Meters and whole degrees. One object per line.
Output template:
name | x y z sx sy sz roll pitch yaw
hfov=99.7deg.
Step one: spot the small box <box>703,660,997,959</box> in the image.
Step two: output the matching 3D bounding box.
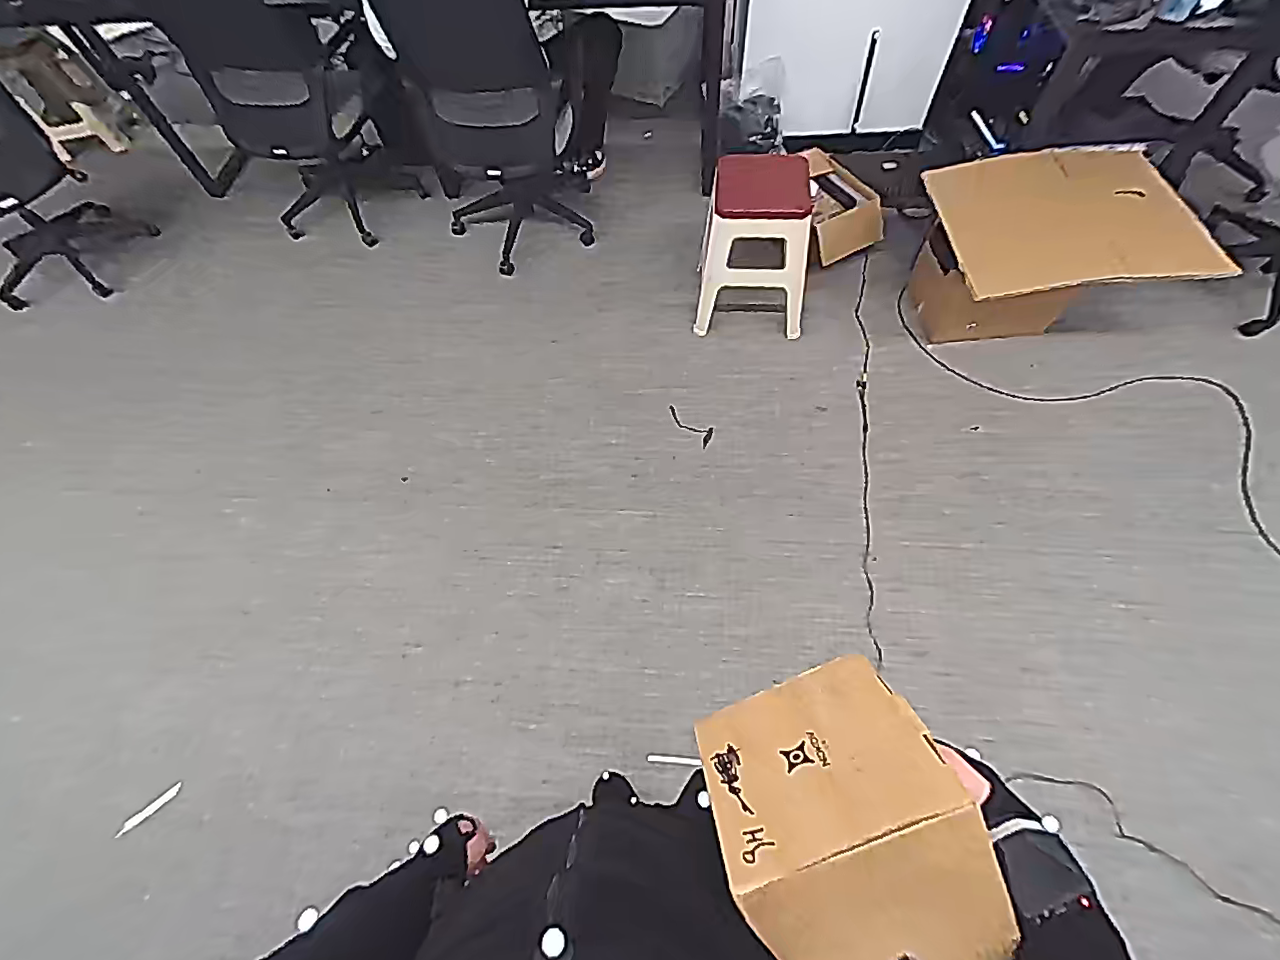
small box | 0.176 0.301 0.474 0.179 0.168 0.176 -24 107 3
